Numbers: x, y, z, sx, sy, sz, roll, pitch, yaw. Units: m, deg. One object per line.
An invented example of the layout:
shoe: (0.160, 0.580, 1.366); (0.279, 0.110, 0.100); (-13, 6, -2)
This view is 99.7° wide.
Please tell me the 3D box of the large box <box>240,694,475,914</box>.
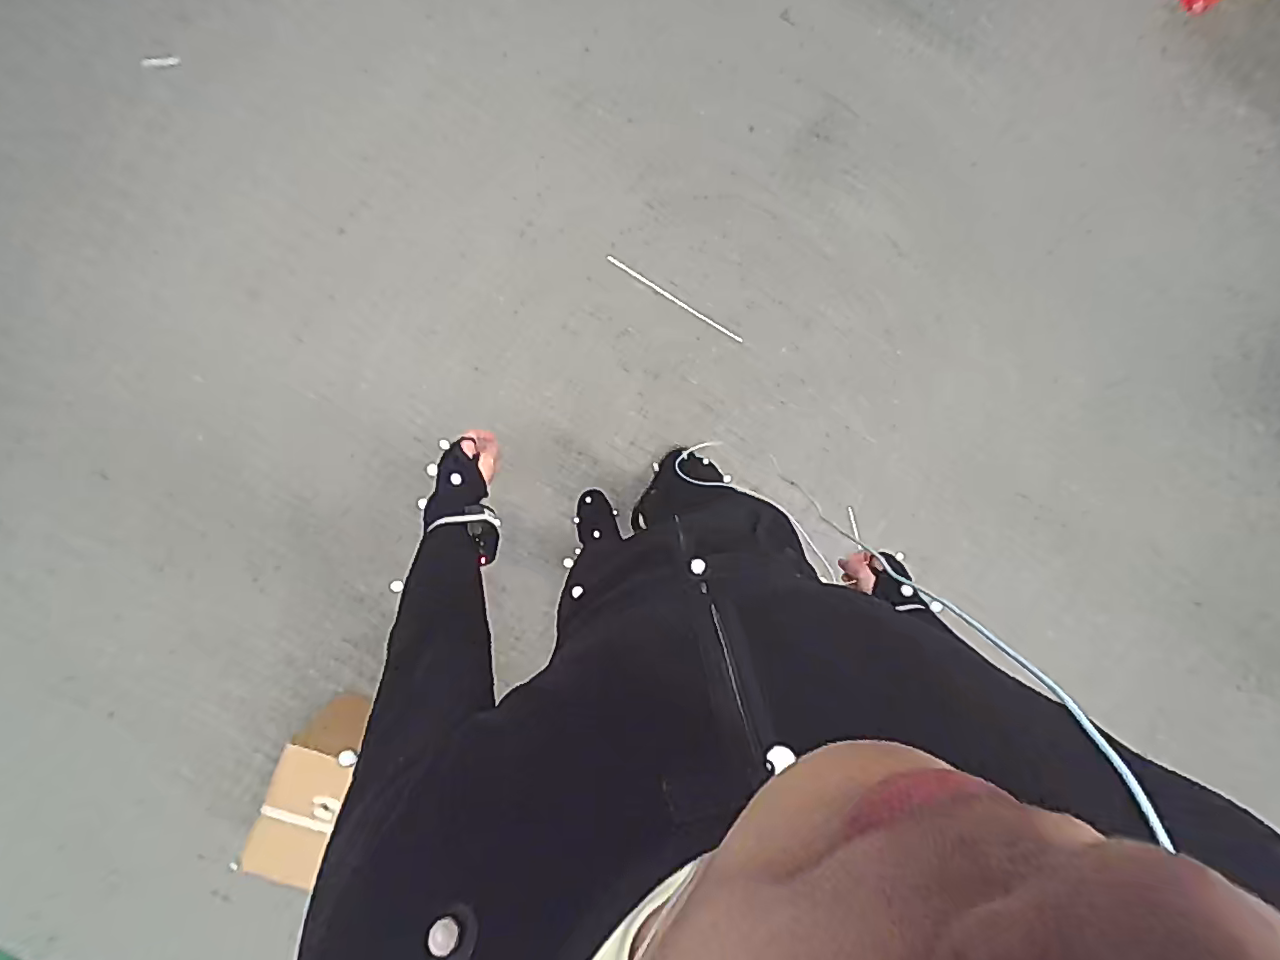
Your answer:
large box: (-0.701, 0.821, 1.415); (0.408, 0.320, 0.320); (21, 87, -5)
